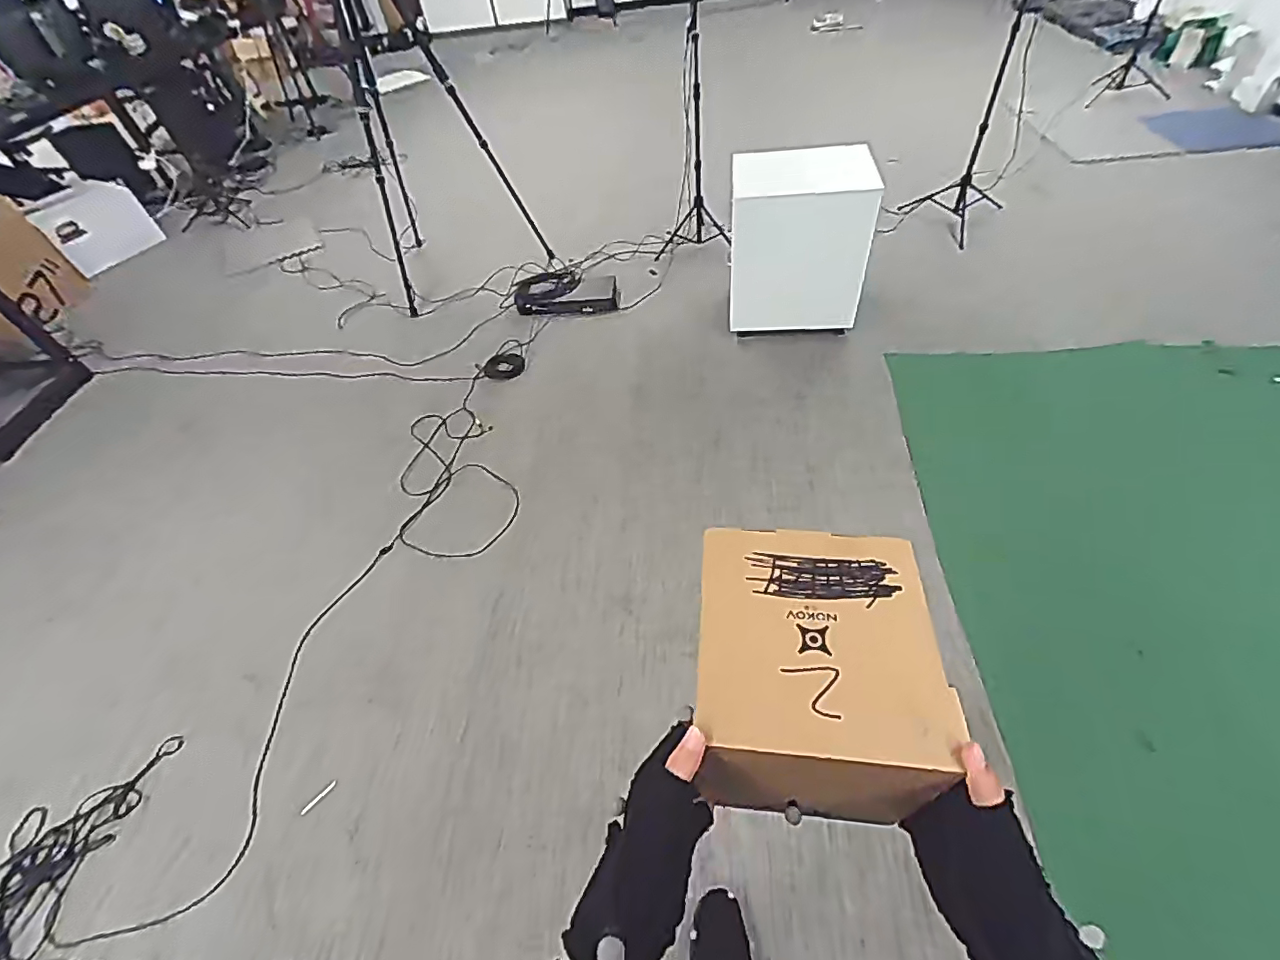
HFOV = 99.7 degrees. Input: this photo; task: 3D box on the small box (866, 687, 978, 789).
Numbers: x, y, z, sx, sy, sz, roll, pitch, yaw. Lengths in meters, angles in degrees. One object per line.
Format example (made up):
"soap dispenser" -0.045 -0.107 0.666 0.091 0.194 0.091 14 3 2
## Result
"small box" 0.629 0.588 1.228 0.168 0.176 0.179 0 51 7
